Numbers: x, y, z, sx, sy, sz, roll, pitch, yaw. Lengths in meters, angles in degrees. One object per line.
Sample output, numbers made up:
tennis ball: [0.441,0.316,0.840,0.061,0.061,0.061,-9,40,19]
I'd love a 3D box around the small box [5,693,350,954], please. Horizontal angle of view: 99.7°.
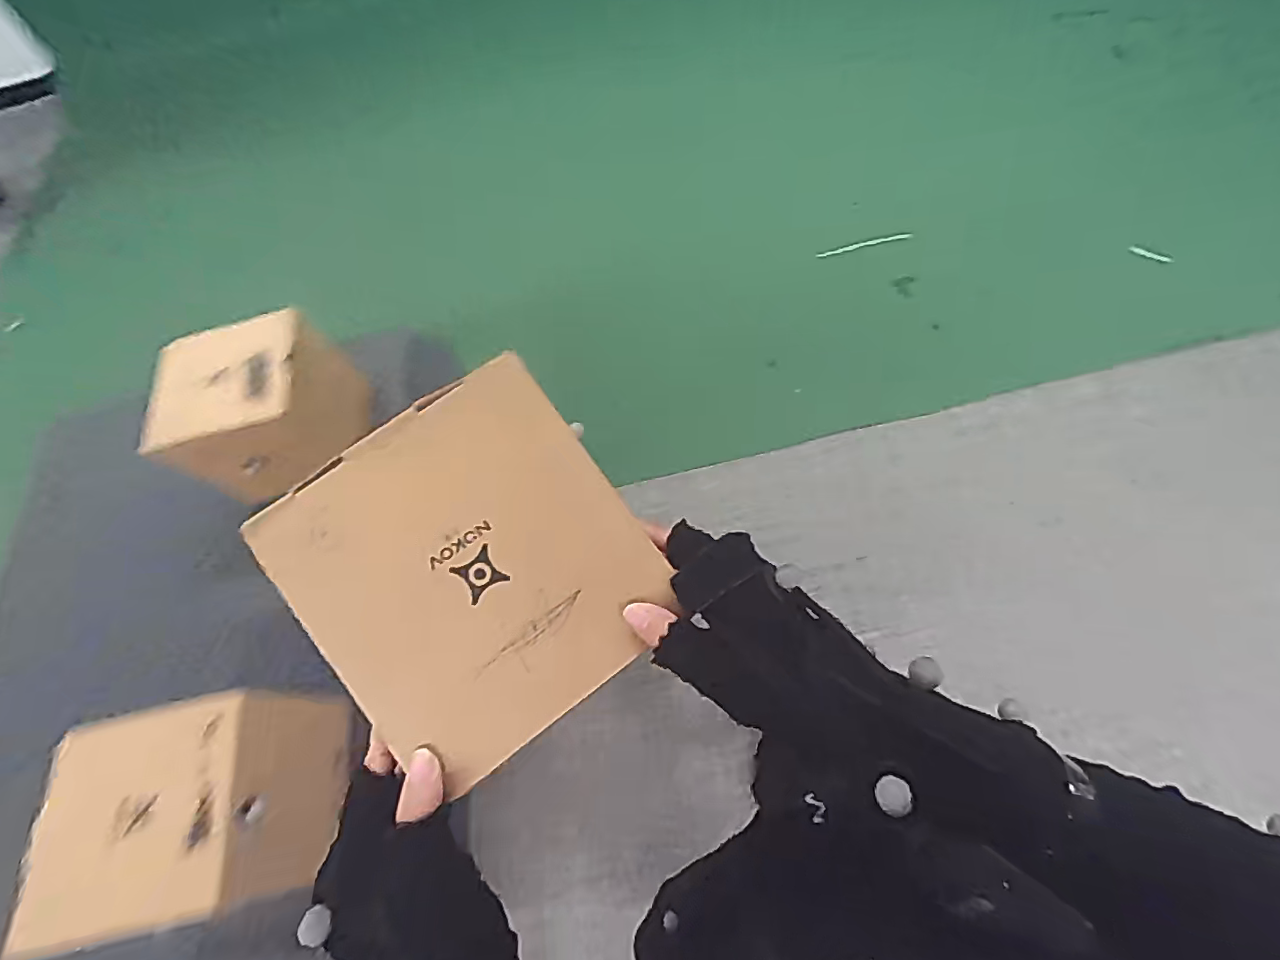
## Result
small box: [-0.419,0.317,0.527,0.179,0.176,0.168,-14,64,2]

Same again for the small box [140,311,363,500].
small box: [-0.498,-0.091,0.726,0.179,0.176,0.168,-14,65,2]
